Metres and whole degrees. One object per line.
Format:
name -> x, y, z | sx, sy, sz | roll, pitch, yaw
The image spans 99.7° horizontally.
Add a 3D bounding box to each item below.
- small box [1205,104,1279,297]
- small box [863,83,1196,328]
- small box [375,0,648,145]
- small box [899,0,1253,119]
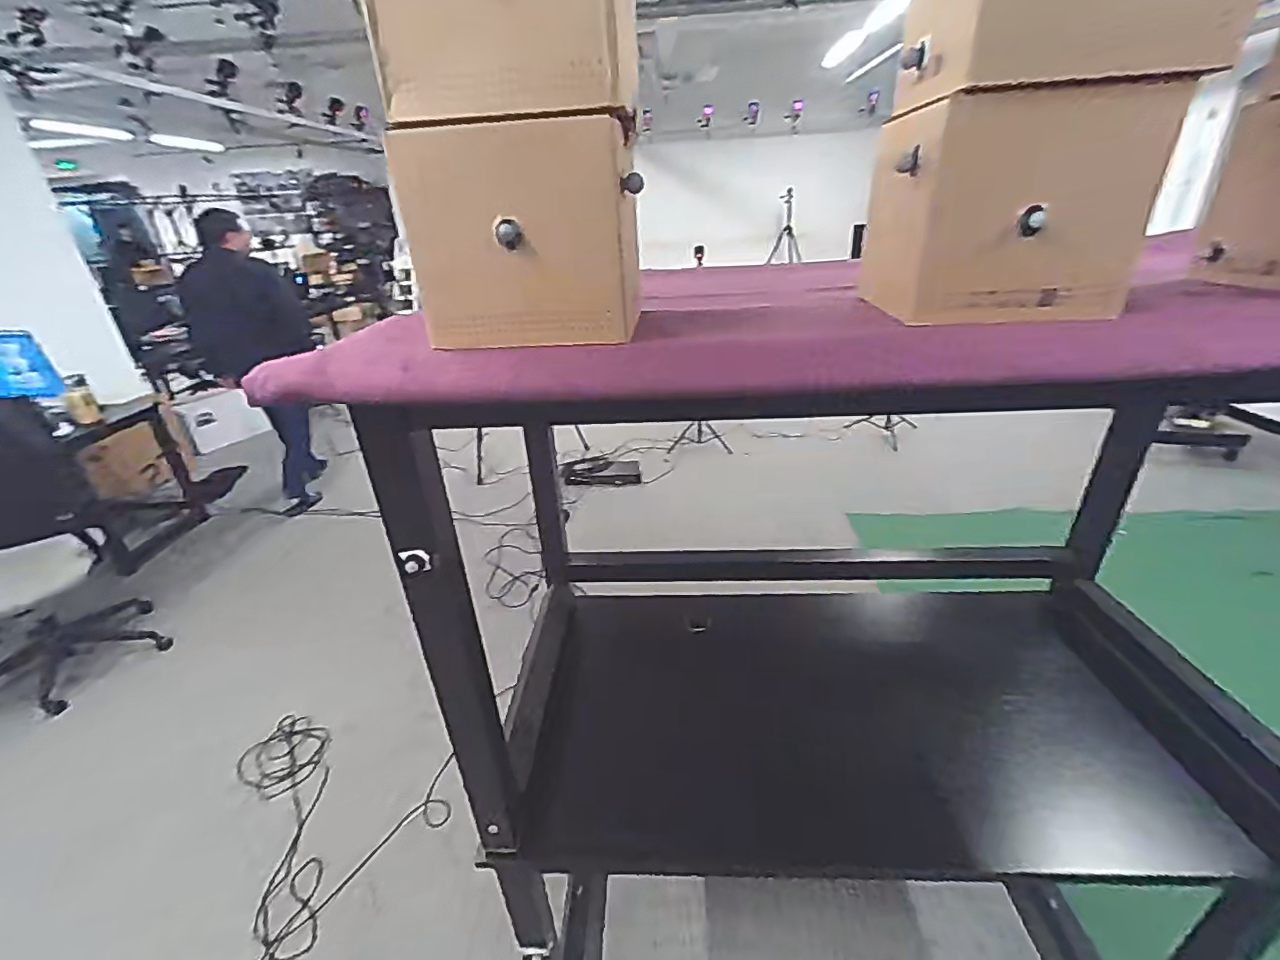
small box -> 0.679, -0.259, 0.489 | 0.179, 0.176, 0.168 | 1, 26, 9
small box -> 0.316, -0.237, 0.490 | 0.168, 0.176, 0.179 | 1, 27, 6
small box -> -0.091, -0.365, 0.419 | 0.179, 0.176, 0.168 | -1, 28, 6
small box -> 0.319, -0.376, 0.405 | 0.179, 0.176, 0.168 | -1, 26, 6
